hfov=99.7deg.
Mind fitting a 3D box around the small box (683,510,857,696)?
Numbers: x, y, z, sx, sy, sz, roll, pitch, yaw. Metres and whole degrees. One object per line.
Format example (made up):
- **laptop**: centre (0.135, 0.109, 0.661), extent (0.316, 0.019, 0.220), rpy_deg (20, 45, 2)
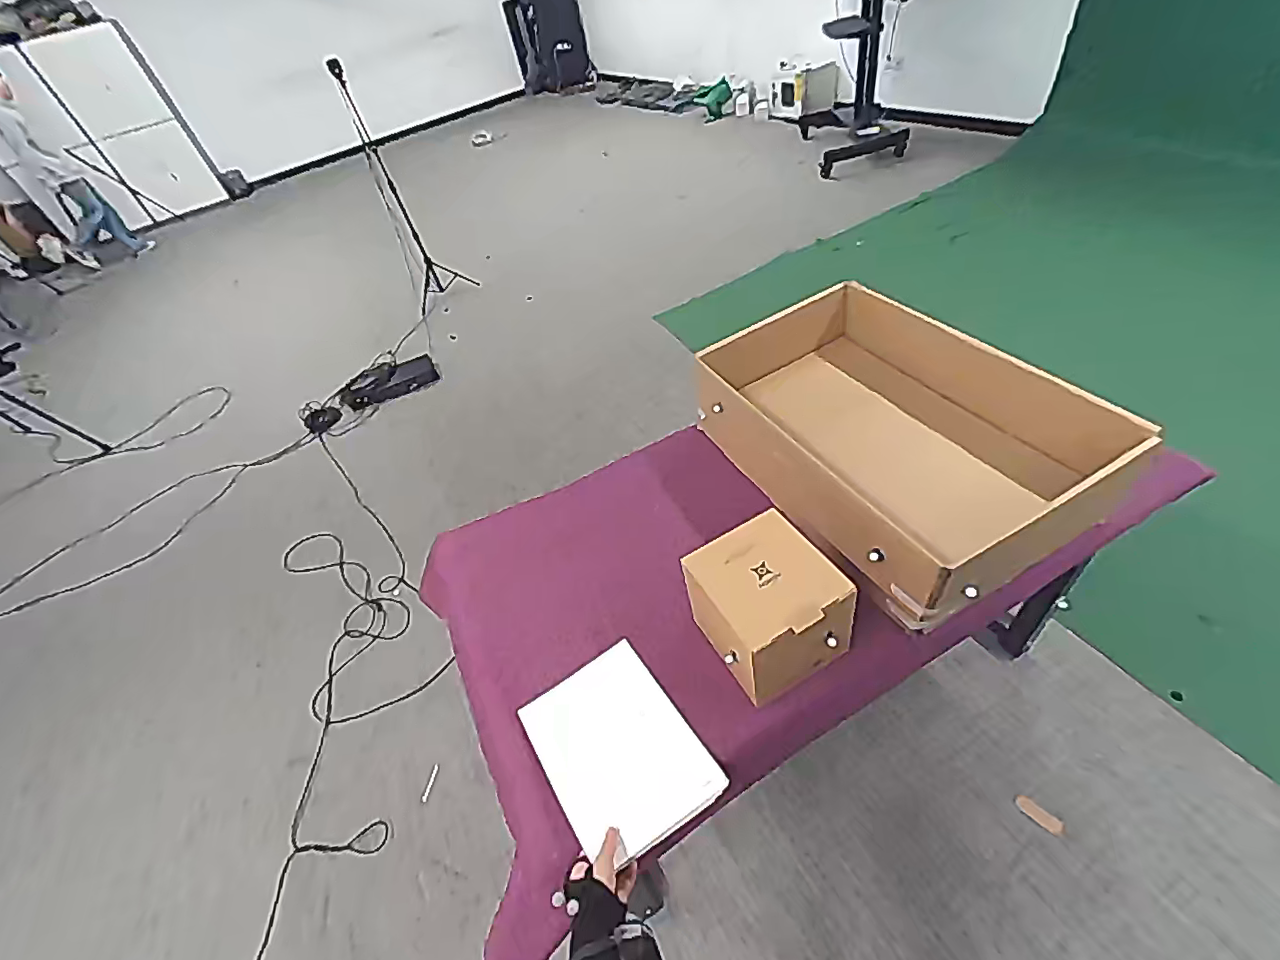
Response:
- **small box**: centre (0.185, 0.183, 0.779), extent (0.168, 0.176, 0.179), rpy_deg (-26, 44, -12)
